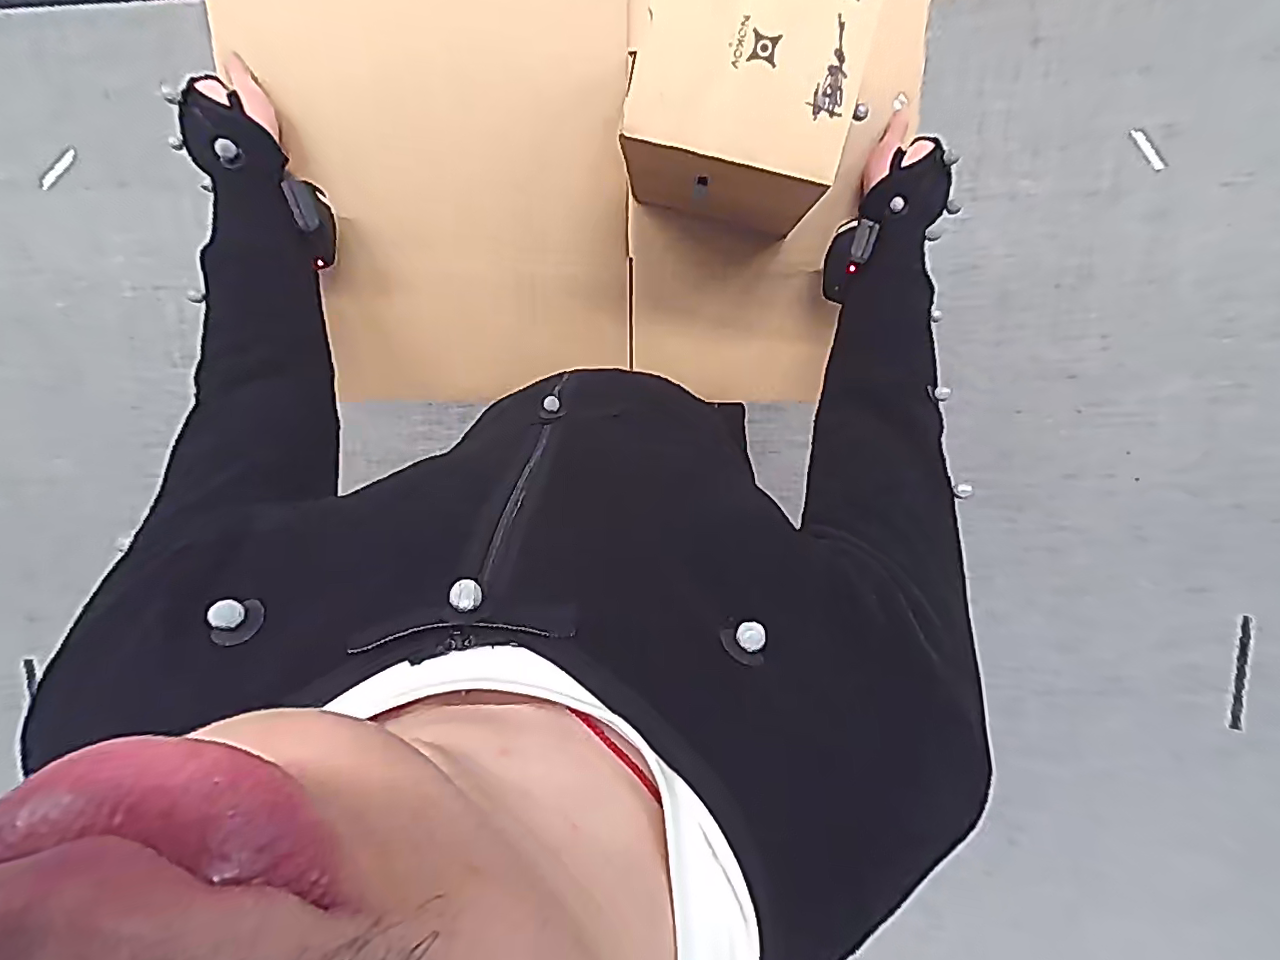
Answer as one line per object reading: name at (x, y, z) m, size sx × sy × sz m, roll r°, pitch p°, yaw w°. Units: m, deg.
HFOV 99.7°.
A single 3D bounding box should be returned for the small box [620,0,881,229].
small box at (0.092, -0.349, 0.495) m, size 0.179 × 0.176 × 0.168 m, roll 14°, pitch 102°, yaw 1°
